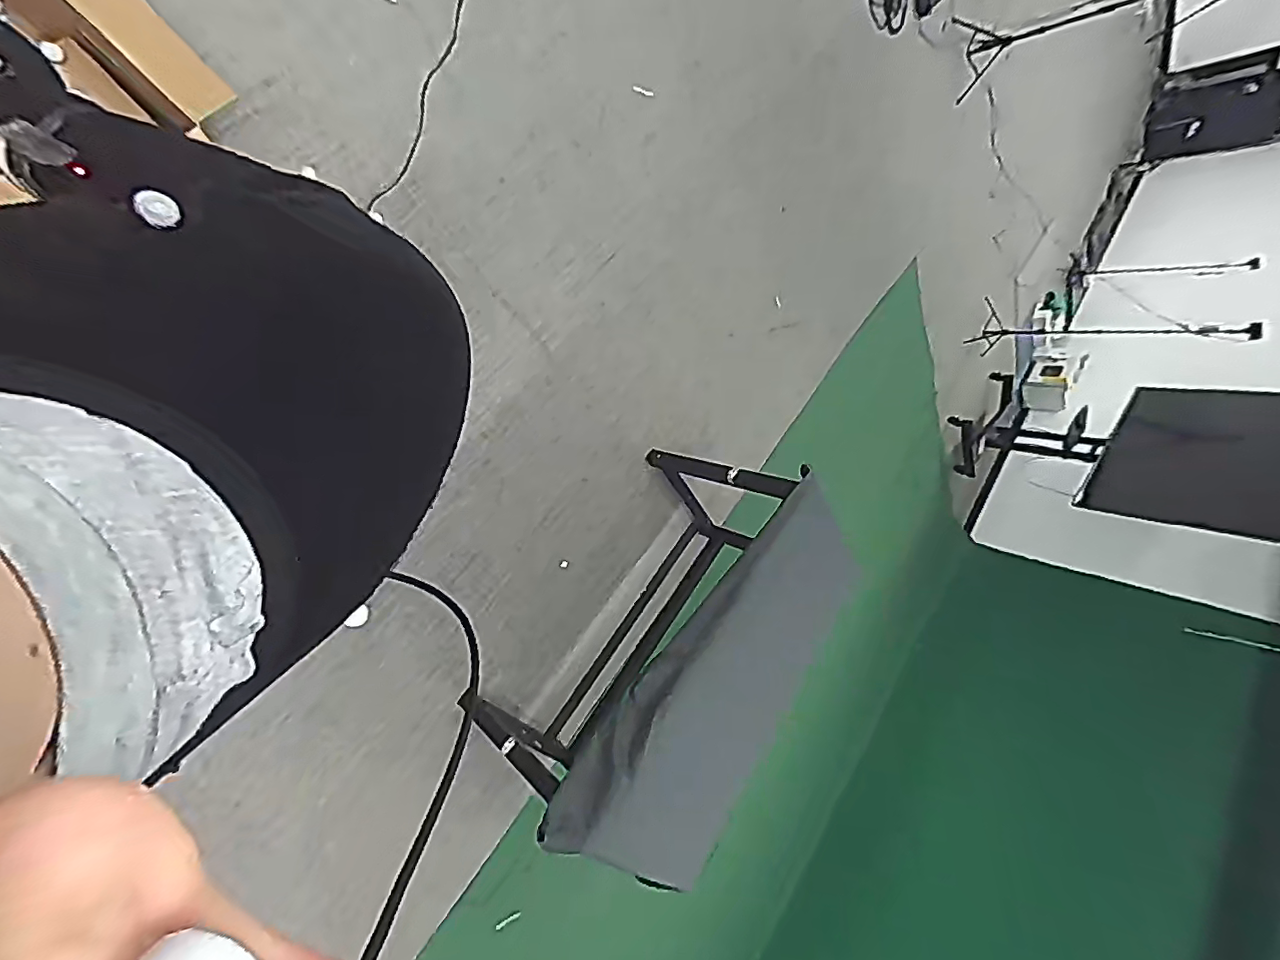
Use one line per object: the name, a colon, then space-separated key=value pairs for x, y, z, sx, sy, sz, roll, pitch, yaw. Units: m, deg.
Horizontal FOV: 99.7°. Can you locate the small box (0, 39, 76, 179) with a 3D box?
small box: x=-0.675 y=-0.368 z=0.464 sx=0.168 sy=0.176 sz=0.179 roll=-37 pitch=120 yaw=-9
